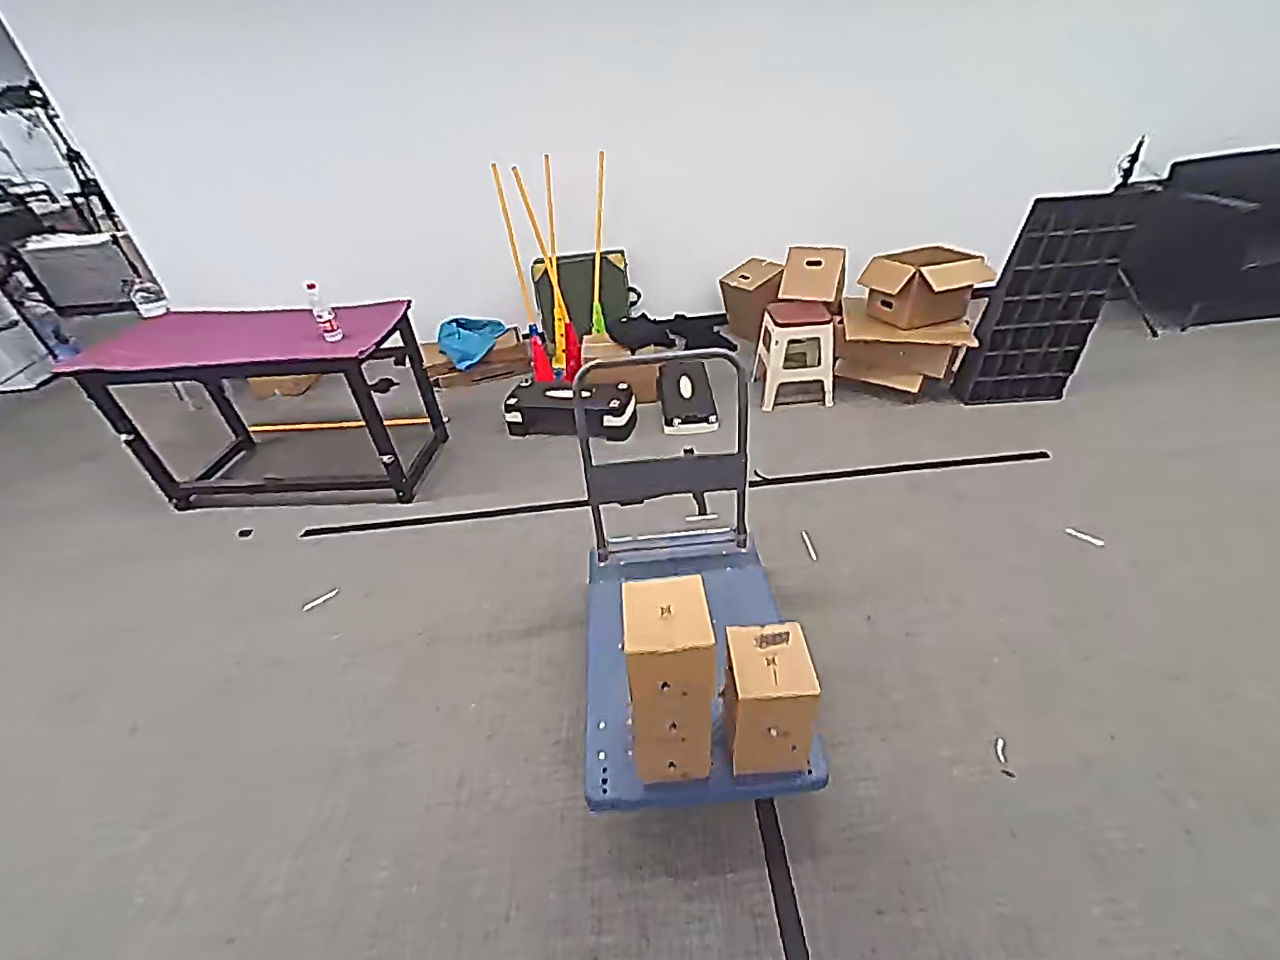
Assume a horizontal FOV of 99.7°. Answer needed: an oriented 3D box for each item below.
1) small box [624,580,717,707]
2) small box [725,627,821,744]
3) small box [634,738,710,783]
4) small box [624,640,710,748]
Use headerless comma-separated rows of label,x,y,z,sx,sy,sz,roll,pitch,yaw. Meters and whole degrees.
small box,0.056,0.327,1.087,0.168,0.176,0.179,-6,36,-1
small box,0.279,0.445,1.176,0.168,0.176,0.179,-4,37,1
small box,0.071,0.593,1.279,0.168,0.176,0.179,-6,36,-2
small box,0.058,0.461,1.180,0.168,0.176,0.179,-7,37,-3
